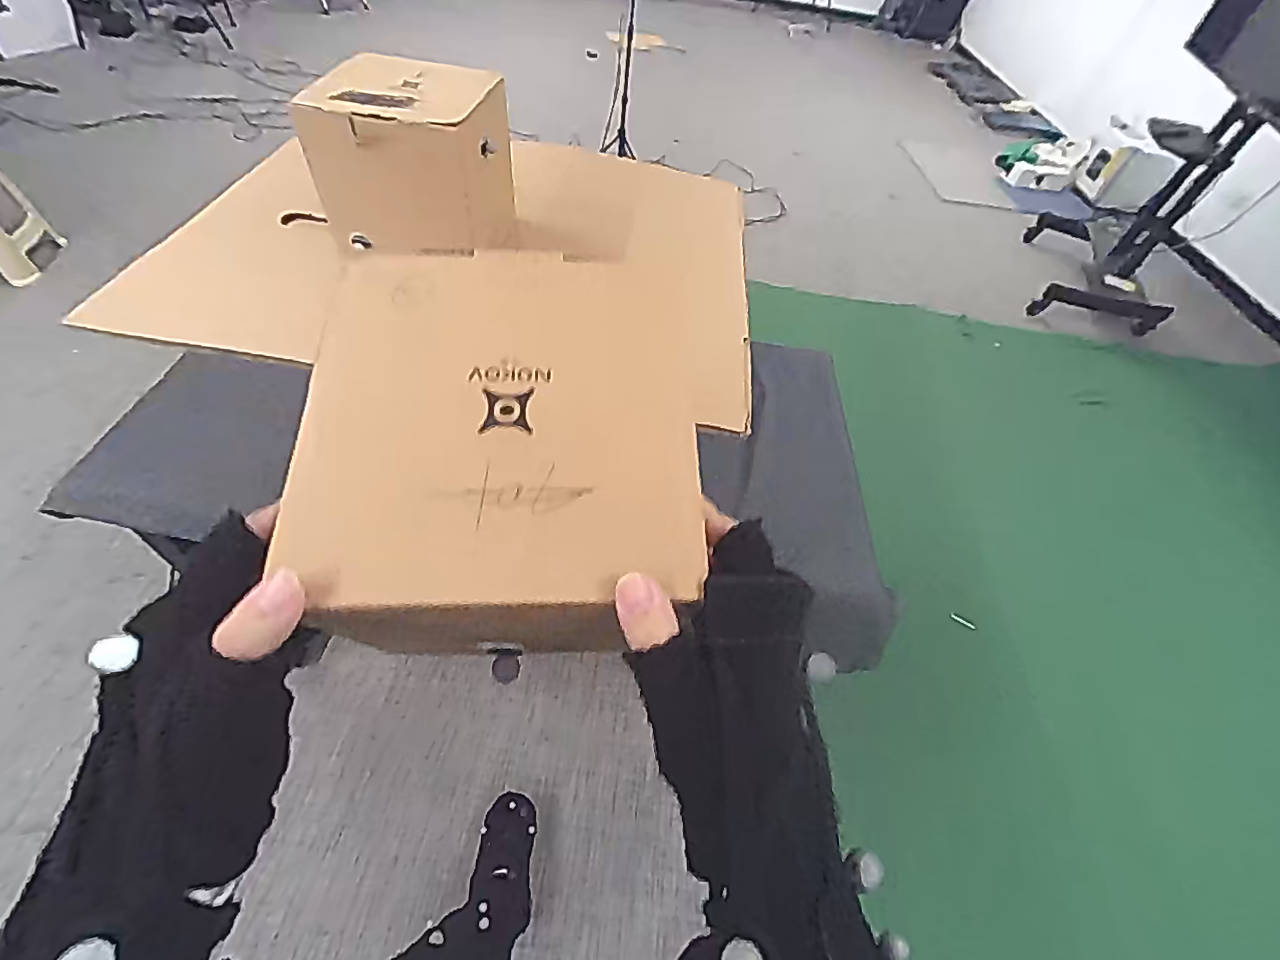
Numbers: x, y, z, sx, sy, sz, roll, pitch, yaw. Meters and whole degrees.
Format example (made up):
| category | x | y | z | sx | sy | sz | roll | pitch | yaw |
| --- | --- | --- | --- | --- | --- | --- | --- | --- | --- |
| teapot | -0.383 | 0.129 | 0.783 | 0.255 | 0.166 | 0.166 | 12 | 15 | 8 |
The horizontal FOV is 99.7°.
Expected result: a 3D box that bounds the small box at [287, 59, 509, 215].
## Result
| category | x | y | z | sx | sy | sz | roll | pitch | yaw |
| --- | --- | --- | --- | --- | --- | --- | --- | --- | --- |
| small box | -0.257 | -0.358 | 0.632 | 0.168 | 0.176 | 0.179 | 8 | 51 | -1 |
